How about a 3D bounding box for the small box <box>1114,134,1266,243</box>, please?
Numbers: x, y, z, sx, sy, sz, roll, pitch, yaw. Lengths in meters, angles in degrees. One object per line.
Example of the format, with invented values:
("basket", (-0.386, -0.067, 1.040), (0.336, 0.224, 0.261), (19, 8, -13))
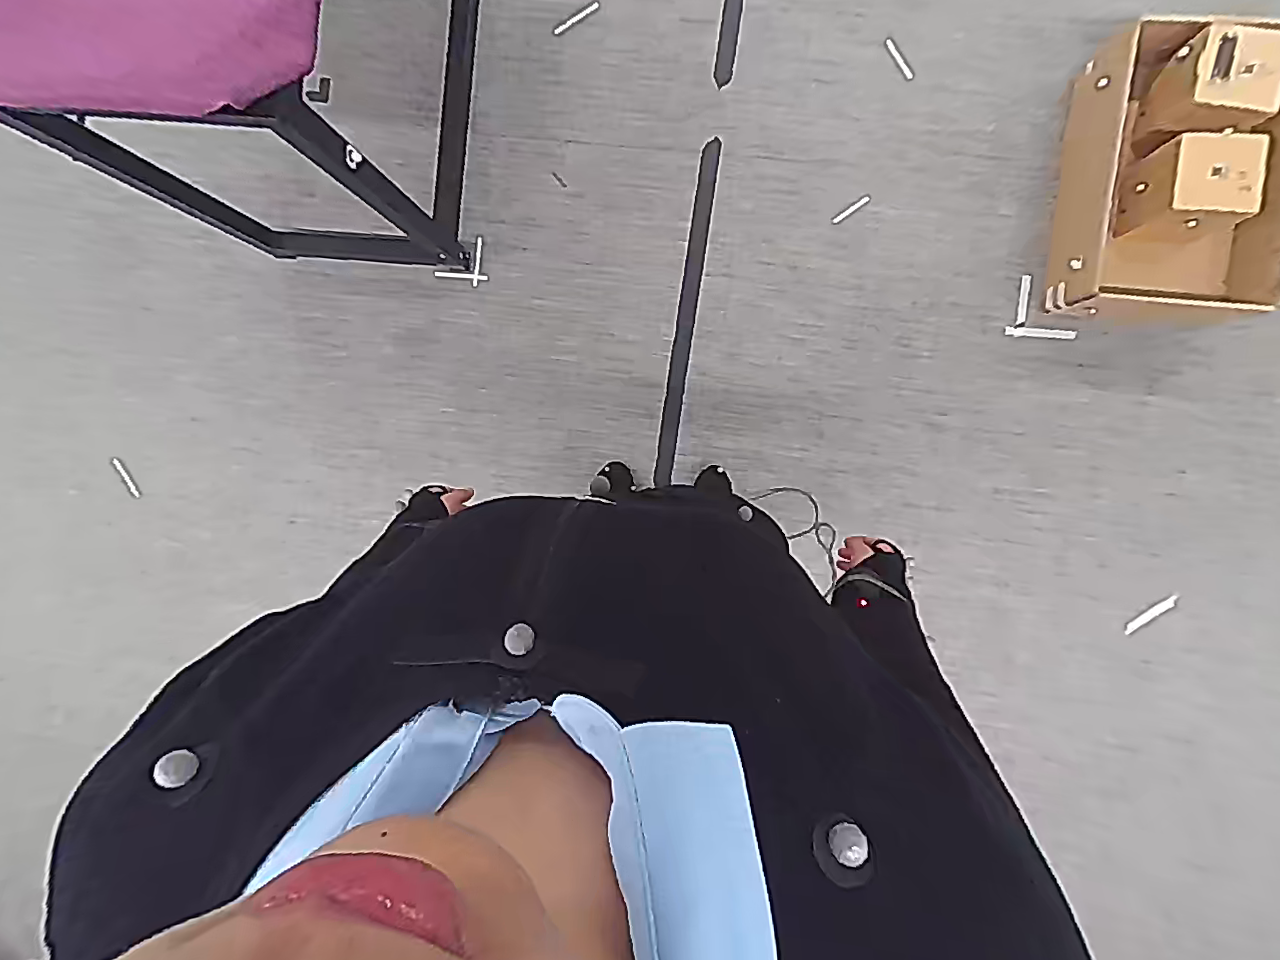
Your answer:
("small box", (1.252, -0.662, 1.246), (0.179, 0.176, 0.168), (6, 93, 5))
